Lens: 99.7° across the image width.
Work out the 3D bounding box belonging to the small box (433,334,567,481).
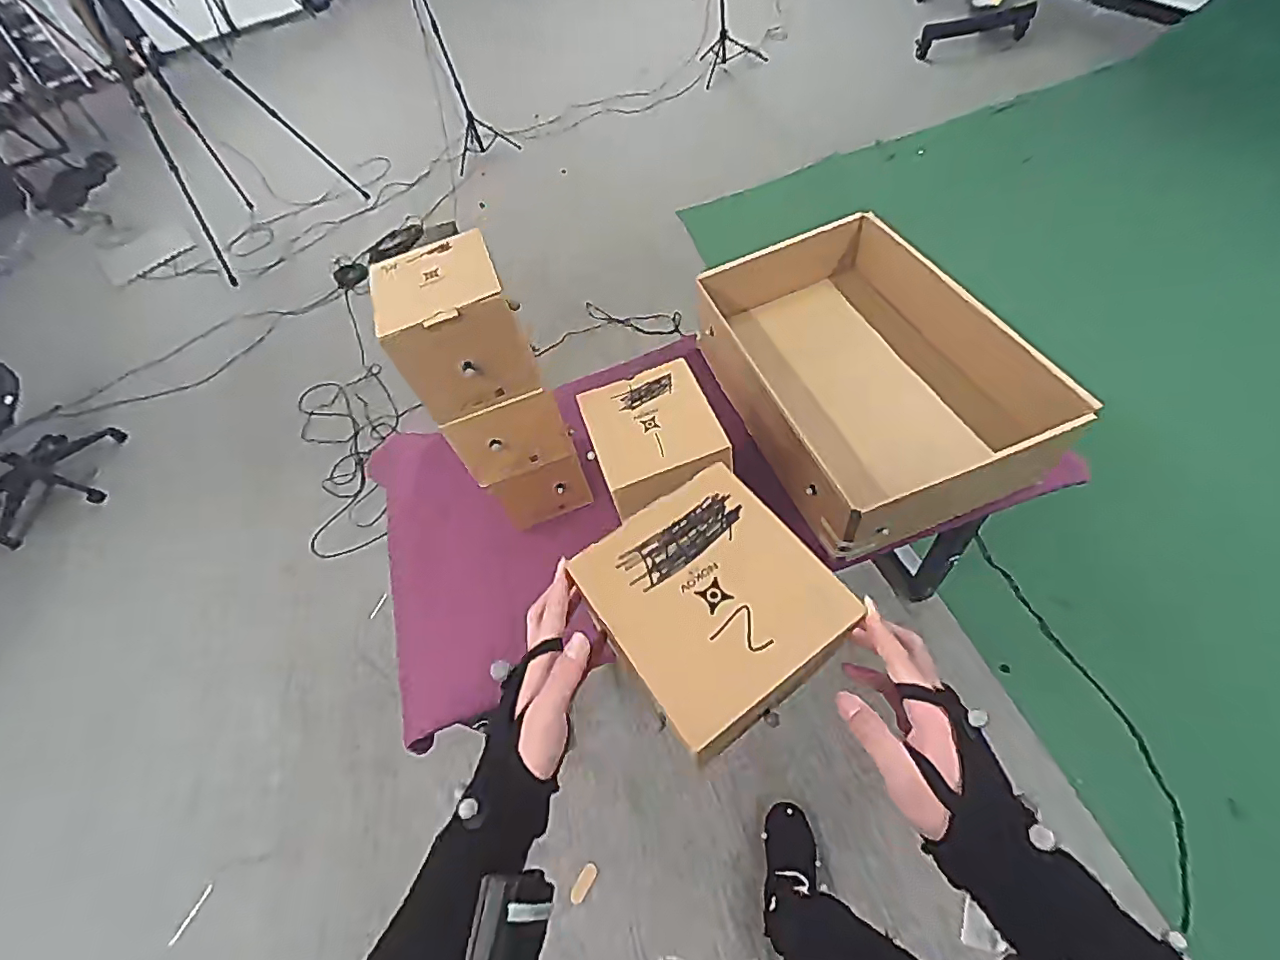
[{"bbox_3d":[-0.235,-0.120,0.908,0.168,0.176,0.179,-21,54,-3],"label":"small box"}]

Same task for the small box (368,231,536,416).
[{"bbox_3d":[-0.263,-0.215,0.777,0.168,0.176,0.179,-21,56,-4],"label":"small box"}]

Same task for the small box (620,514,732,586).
[{"bbox_3d":[0.051,0.061,0.920,0.168,0.176,0.179,-20,54,-3],"label":"small box"}]

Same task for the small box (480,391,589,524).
[{"bbox_3d":[-0.209,-0.035,1.043,0.168,0.176,0.179,-21,55,-3],"label":"small box"}]

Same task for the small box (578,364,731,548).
[{"bbox_3d":[0.024,-0.030,0.787,0.168,0.176,0.179,-21,55,-2],"label":"small box"}]
